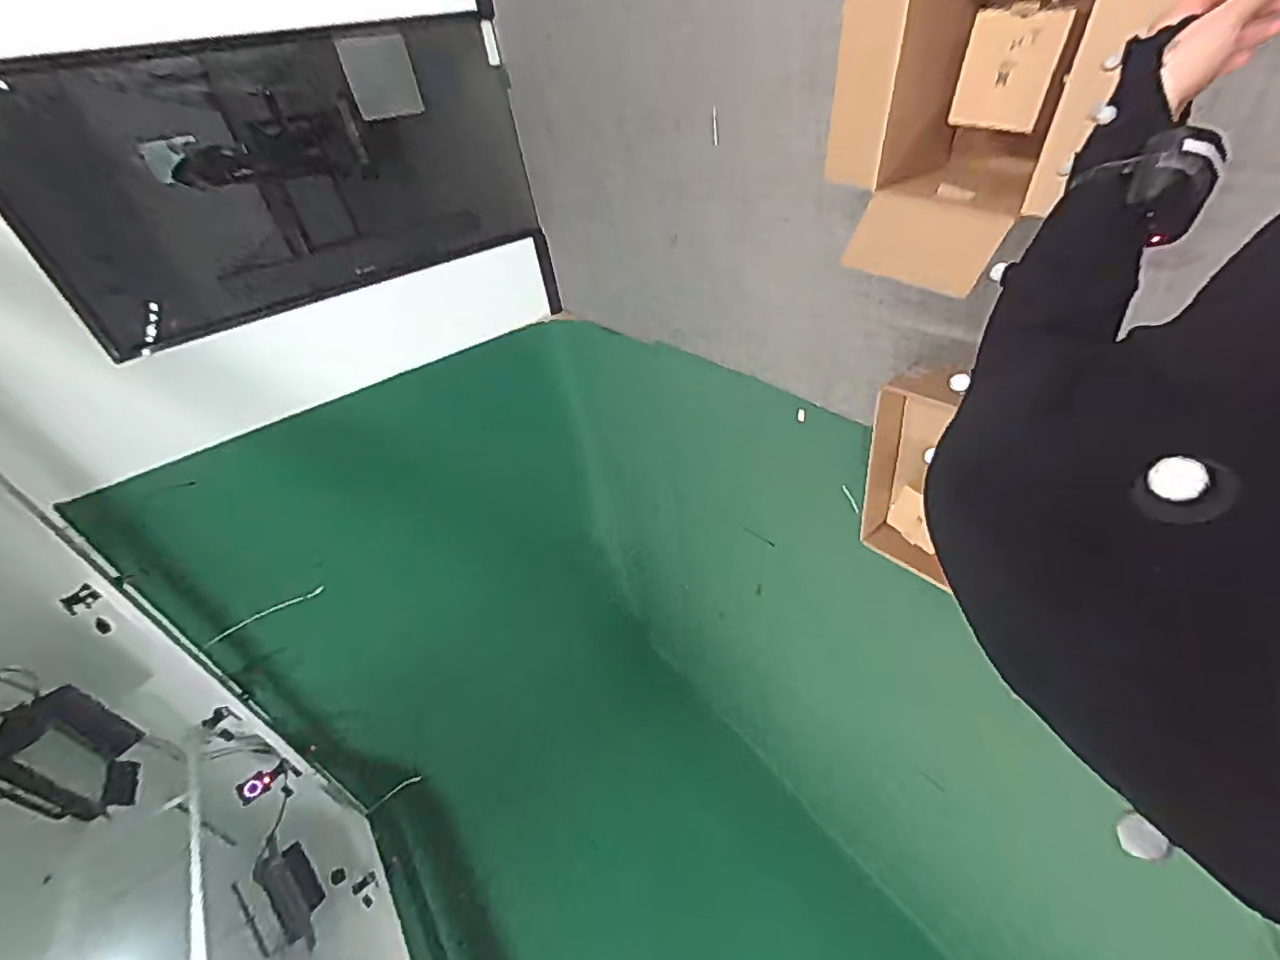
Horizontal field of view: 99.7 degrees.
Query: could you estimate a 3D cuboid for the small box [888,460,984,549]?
[{"bbox_3d":[0.898,0.069,1.636,0.168,0.176,0.179,44,150,34],"label":"small box"}]
